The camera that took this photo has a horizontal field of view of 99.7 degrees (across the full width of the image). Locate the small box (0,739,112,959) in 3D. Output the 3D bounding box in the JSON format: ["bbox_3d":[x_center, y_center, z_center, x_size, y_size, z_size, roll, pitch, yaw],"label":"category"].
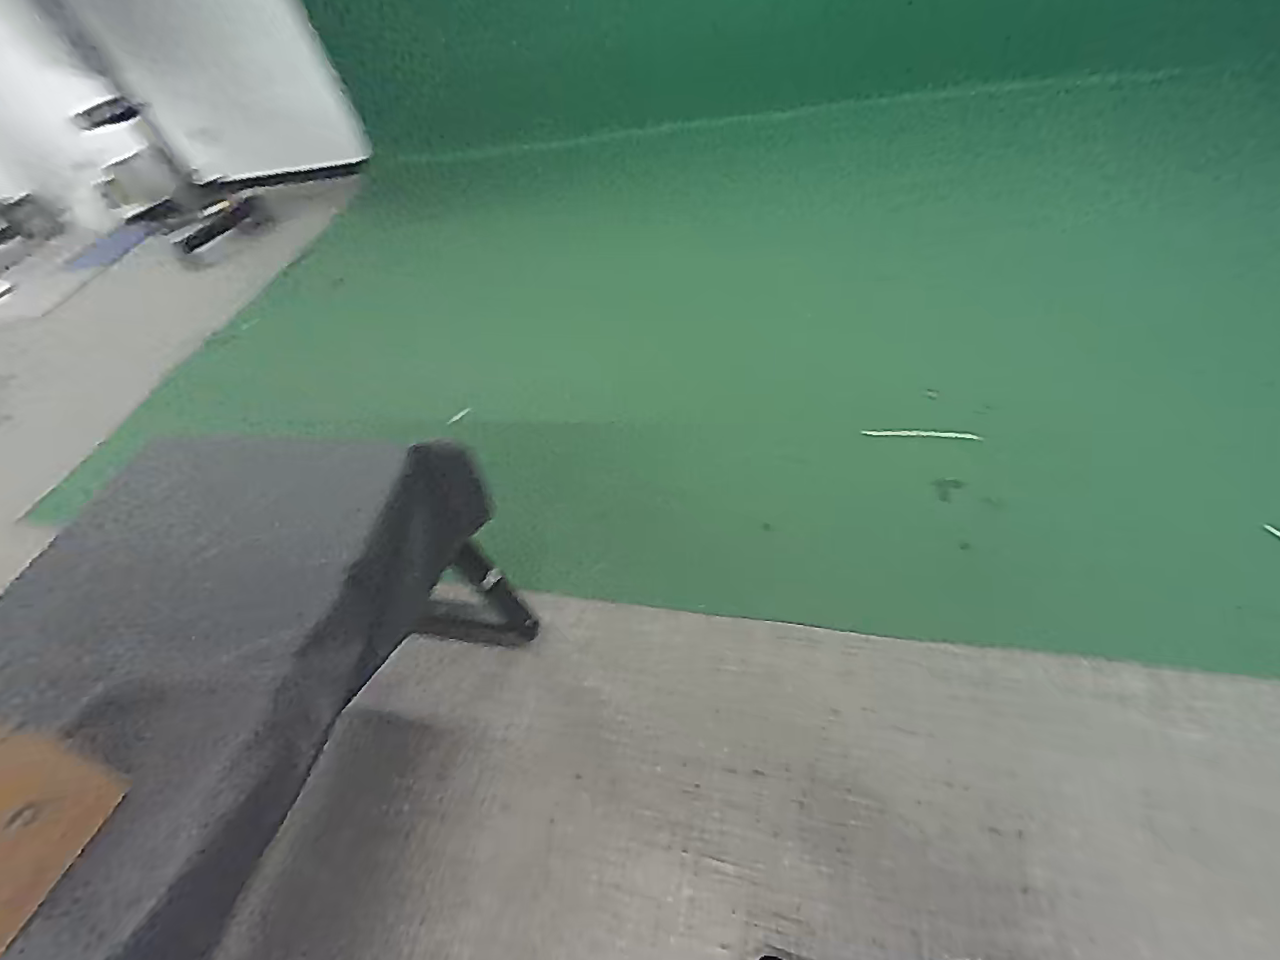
[{"bbox_3d":[-0.727,0.383,0.570,0.168,0.176,0.179,9,56,22],"label":"small box"}]
